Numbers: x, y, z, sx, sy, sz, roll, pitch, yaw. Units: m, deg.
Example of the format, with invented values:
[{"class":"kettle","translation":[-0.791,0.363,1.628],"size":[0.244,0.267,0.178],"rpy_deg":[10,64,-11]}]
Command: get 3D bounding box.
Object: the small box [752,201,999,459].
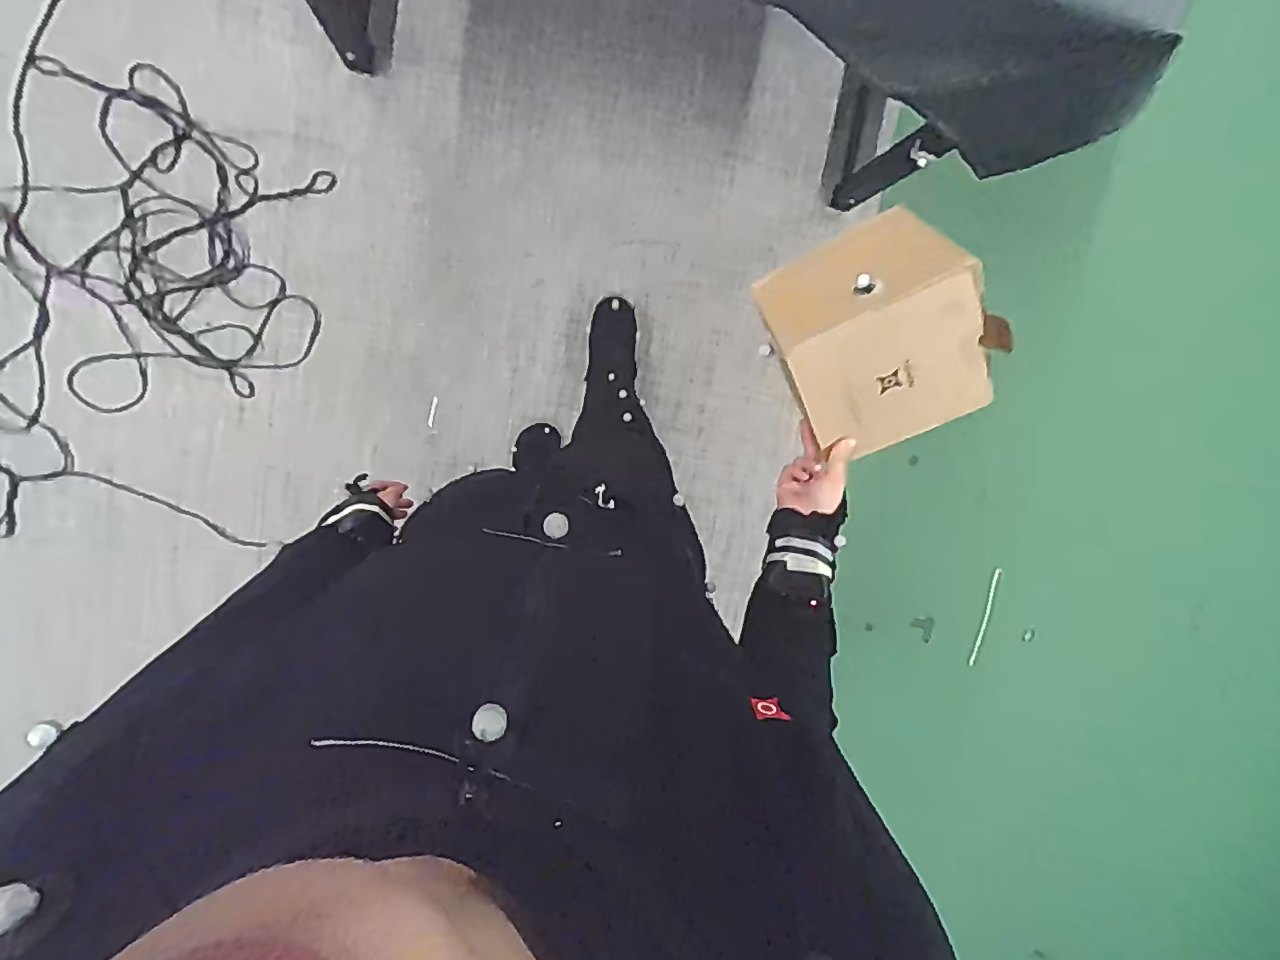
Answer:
[{"class":"small box","translation":[0.240,-0.160,0.572],"size":[0.179,0.176,0.168],"rpy_deg":[-24,129,17]}]
